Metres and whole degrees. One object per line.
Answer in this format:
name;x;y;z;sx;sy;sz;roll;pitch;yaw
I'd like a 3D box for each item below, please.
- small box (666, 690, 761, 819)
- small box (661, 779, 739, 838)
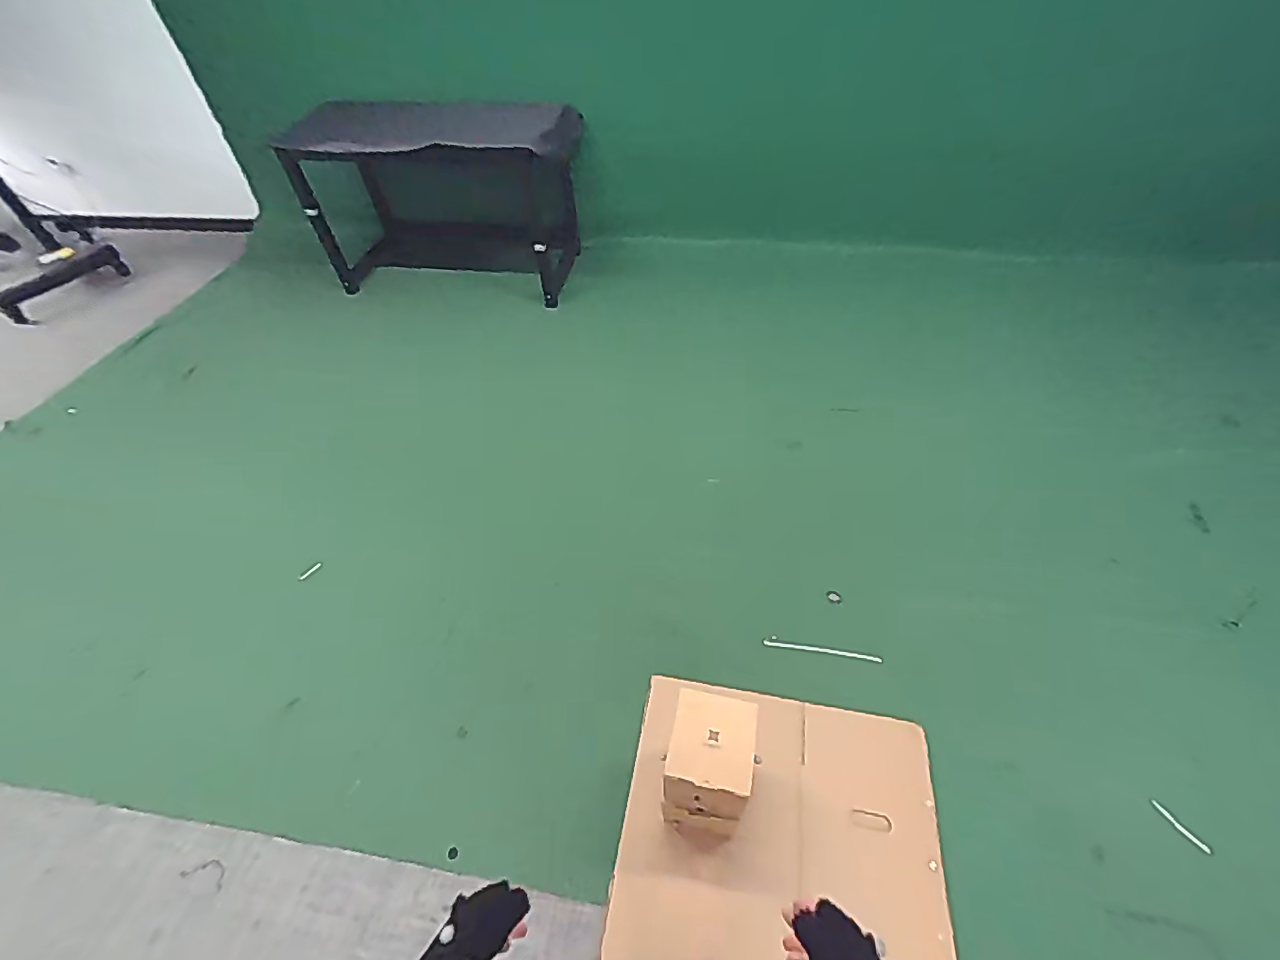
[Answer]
small box;0.148;0.564;1.110;0.168;0.176;0.179;9;49;11
small box;0.147;0.682;1.222;0.168;0.176;0.179;8;48;11
